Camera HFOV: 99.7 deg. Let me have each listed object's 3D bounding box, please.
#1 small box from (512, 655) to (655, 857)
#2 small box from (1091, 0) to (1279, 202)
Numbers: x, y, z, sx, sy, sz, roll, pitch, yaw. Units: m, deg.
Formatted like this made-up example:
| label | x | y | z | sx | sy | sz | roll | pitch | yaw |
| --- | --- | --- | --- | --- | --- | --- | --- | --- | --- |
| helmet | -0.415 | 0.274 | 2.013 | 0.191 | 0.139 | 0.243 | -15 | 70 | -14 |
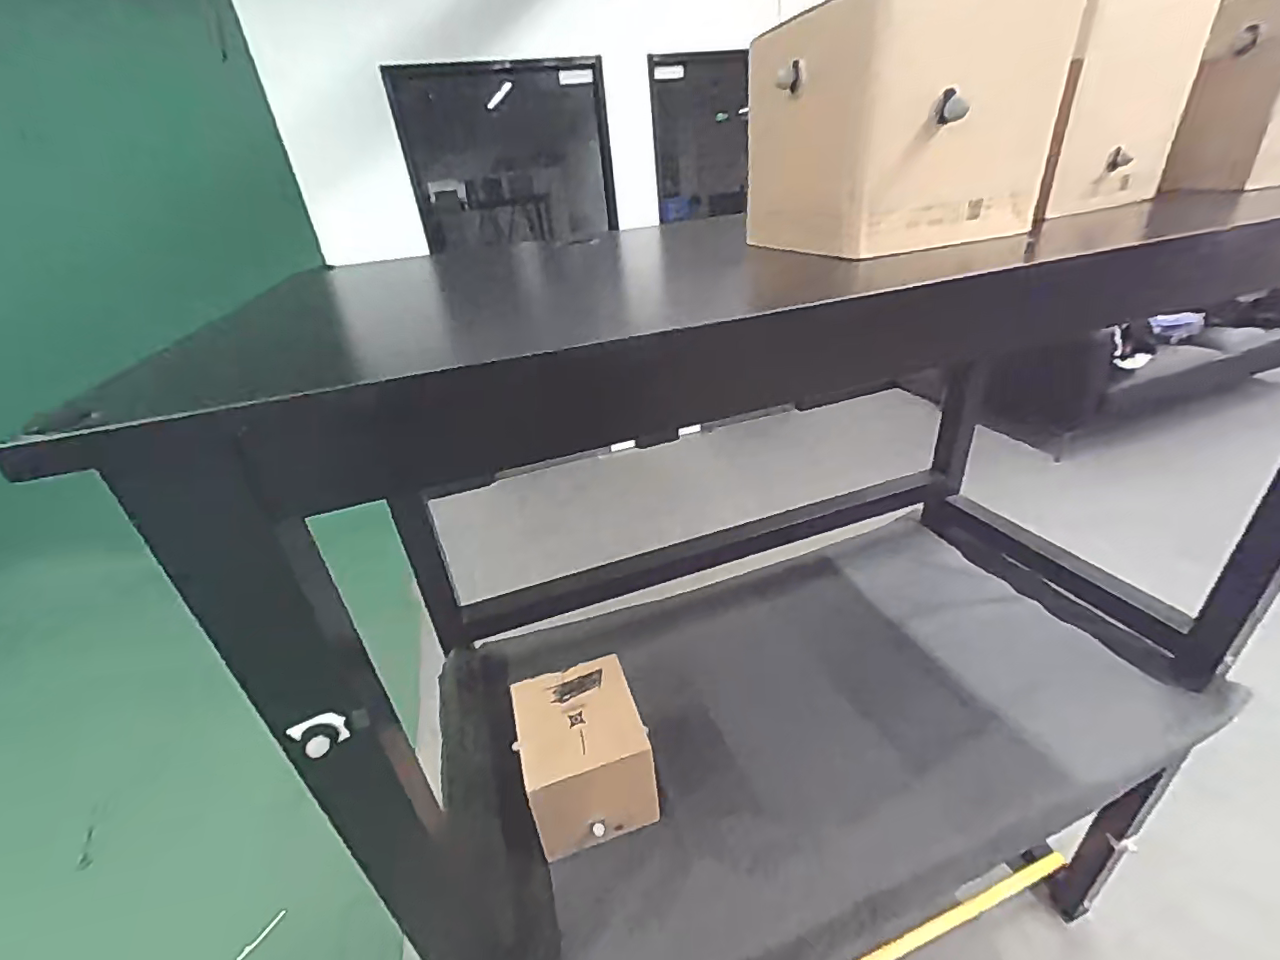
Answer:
| label | x | y | z | sx | sy | sz | roll | pitch | yaw |
| --- | --- | --- | --- | --- | --- | --- | --- | --- | --- |
| small box | -0.084 | 0.397 | 0.791 | 0.168 | 0.176 | 0.179 | -14 | 30 | -13 |
| small box | 0.643 | -0.399 | 0.573 | 0.168 | 0.176 | 0.179 | -9 | 29 | -5 |
